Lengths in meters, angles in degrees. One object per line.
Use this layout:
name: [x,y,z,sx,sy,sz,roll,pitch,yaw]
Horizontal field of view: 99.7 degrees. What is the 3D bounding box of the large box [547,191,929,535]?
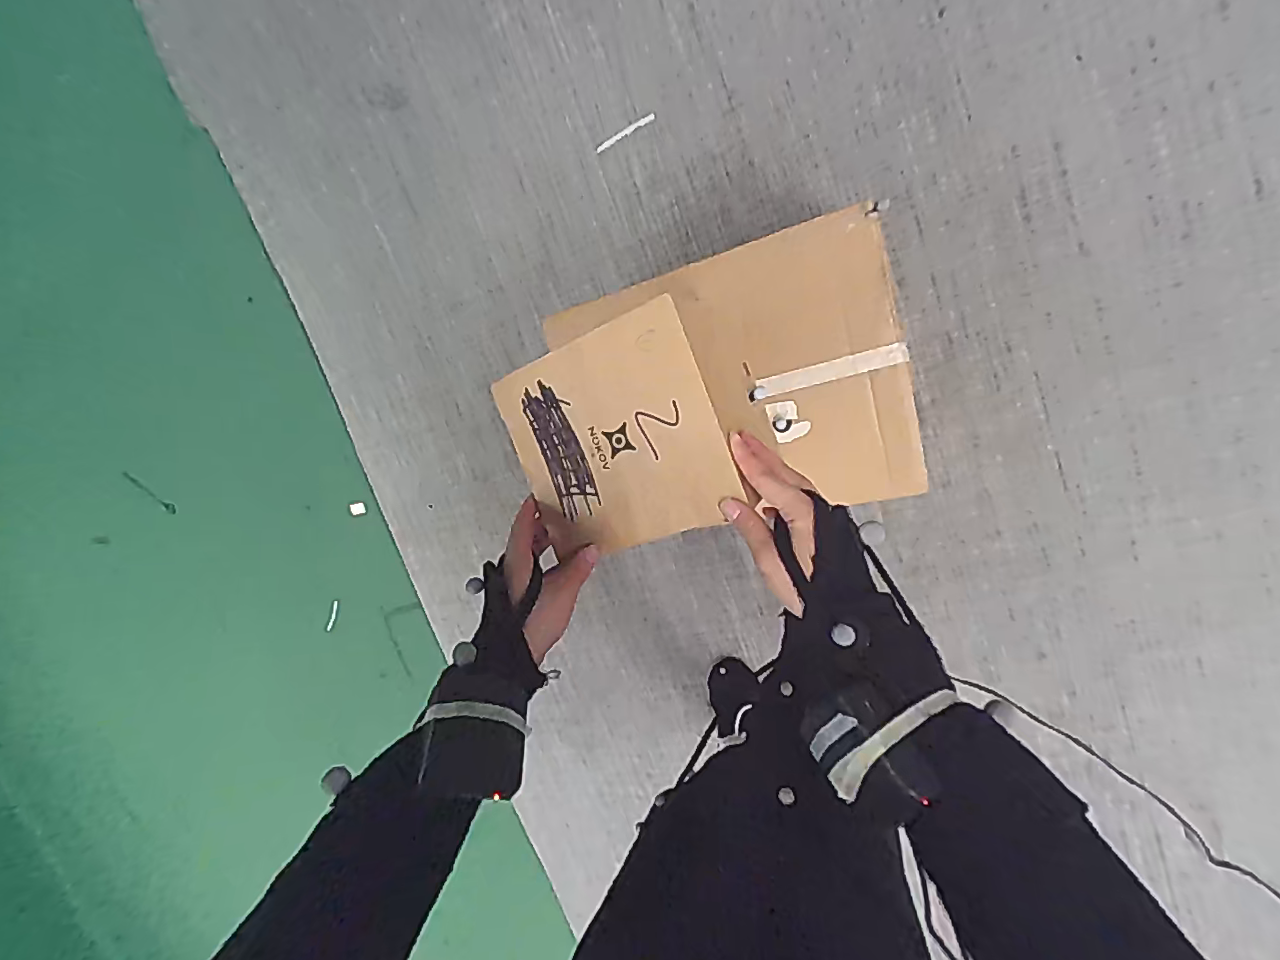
large box: [0.146,-0.144,0.776,0.408,0.320,0.320,-12,102,23]
